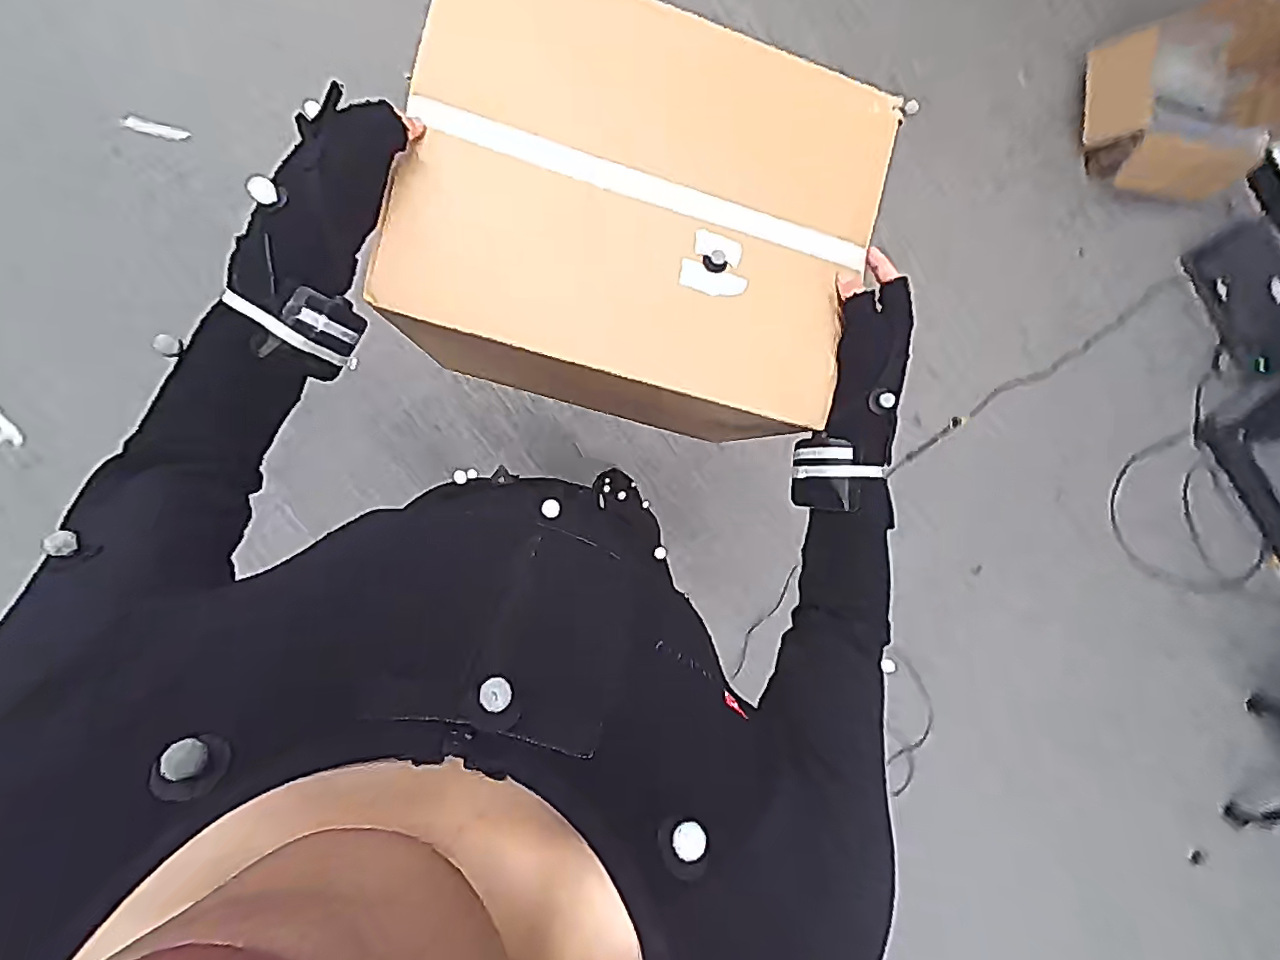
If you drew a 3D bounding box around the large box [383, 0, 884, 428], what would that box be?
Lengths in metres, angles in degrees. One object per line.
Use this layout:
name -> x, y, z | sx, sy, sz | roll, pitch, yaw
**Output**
large box -> -0.017, -0.261, 0.620 | 0.408, 0.320, 0.320 | 13, 90, -10
